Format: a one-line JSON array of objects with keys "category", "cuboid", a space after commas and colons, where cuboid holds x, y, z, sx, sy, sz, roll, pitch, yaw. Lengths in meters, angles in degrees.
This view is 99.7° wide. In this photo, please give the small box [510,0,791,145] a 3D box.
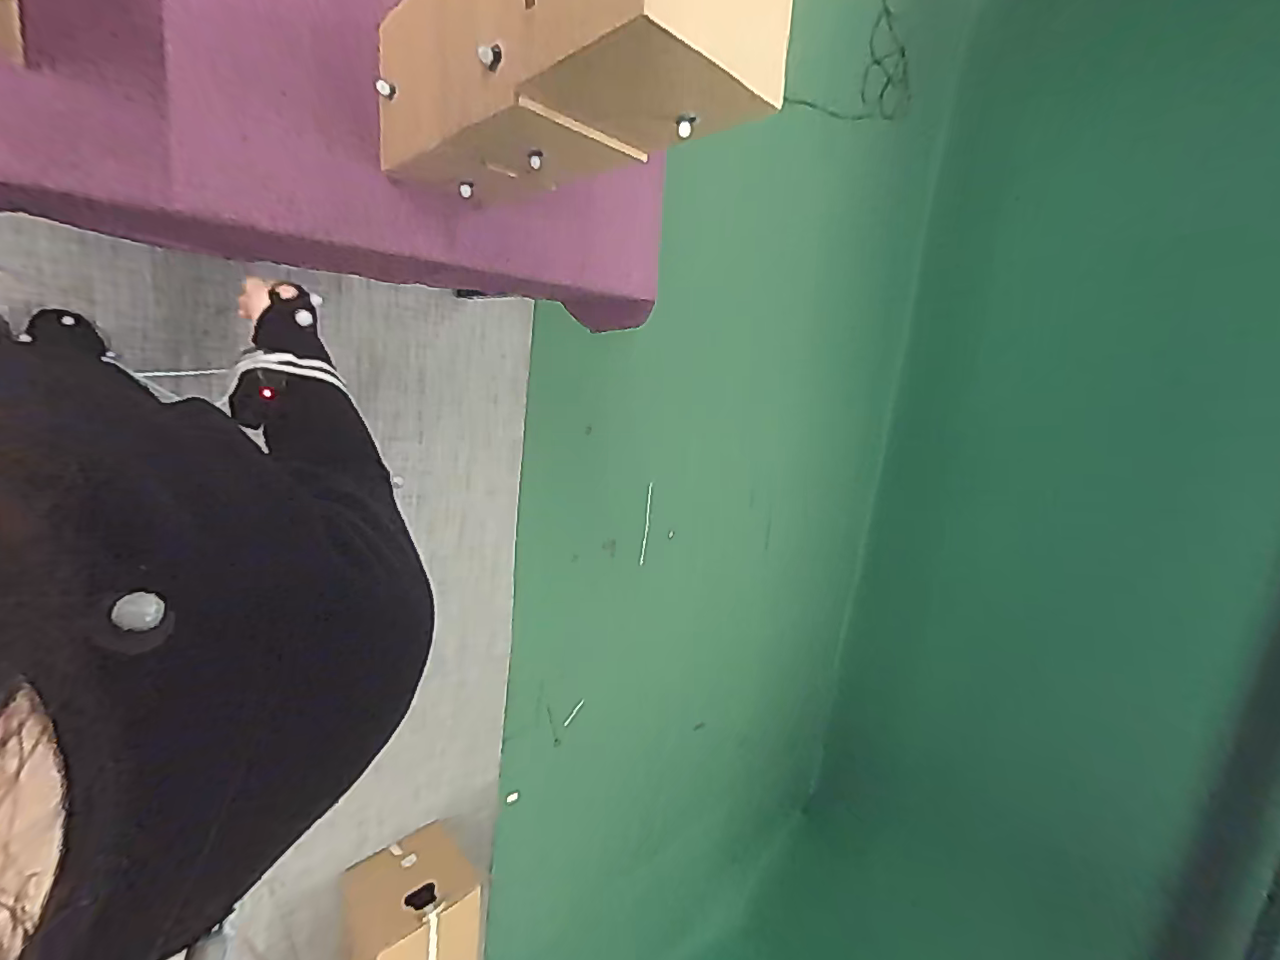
[{"category": "small box", "cuboid": [0.012, -0.412, 0.461, 0.179, 0.176, 0.168, -8, 106, -44]}]

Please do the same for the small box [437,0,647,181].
[{"category": "small box", "cuboid": [-0.101, -0.442, 0.576, 0.168, 0.176, 0.179, -8, 108, -45]}]

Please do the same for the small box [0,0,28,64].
[{"category": "small box", "cuboid": [-0.543, -0.432, 0.361, 0.168, 0.176, 0.179, -6, 107, -45]}]

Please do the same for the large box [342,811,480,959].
[{"category": "large box", "cuboid": [-0.734, 1.389, 1.732, 0.320, 0.320, 0.408, -7, 109, -46]}]

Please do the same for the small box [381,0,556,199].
[{"category": "small box", "cuboid": [-0.215, -0.477, 0.690, 0.168, 0.176, 0.179, -7, 108, -45]}]
